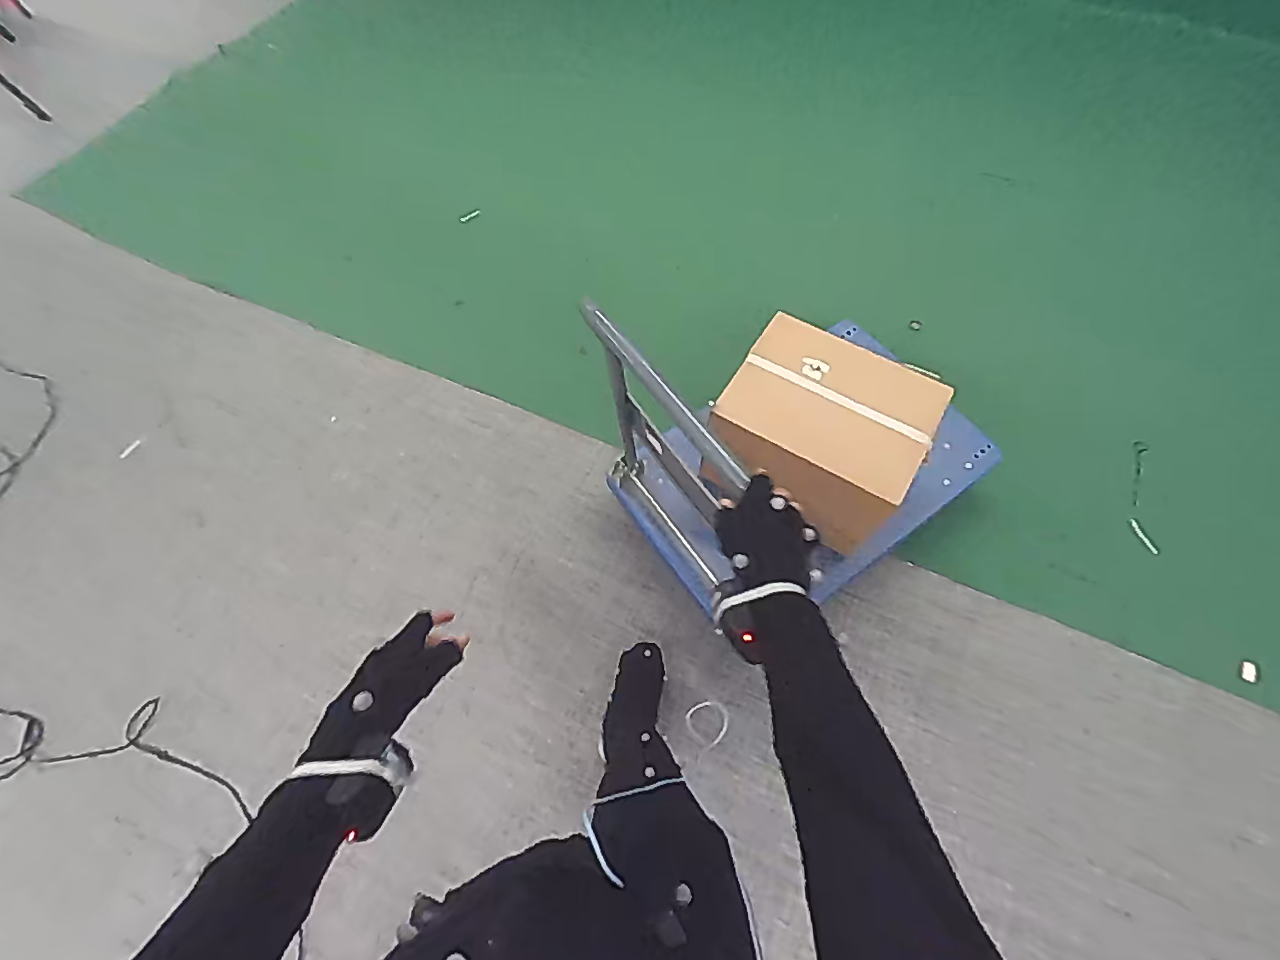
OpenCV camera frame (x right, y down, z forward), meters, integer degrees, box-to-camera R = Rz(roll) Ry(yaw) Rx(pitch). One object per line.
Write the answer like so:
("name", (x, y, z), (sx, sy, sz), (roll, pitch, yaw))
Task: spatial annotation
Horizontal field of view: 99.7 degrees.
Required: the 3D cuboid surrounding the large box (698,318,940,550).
("large box", (0.385, -0.096, 1.253), (0.408, 0.320, 0.320), (29, 68, 16))
